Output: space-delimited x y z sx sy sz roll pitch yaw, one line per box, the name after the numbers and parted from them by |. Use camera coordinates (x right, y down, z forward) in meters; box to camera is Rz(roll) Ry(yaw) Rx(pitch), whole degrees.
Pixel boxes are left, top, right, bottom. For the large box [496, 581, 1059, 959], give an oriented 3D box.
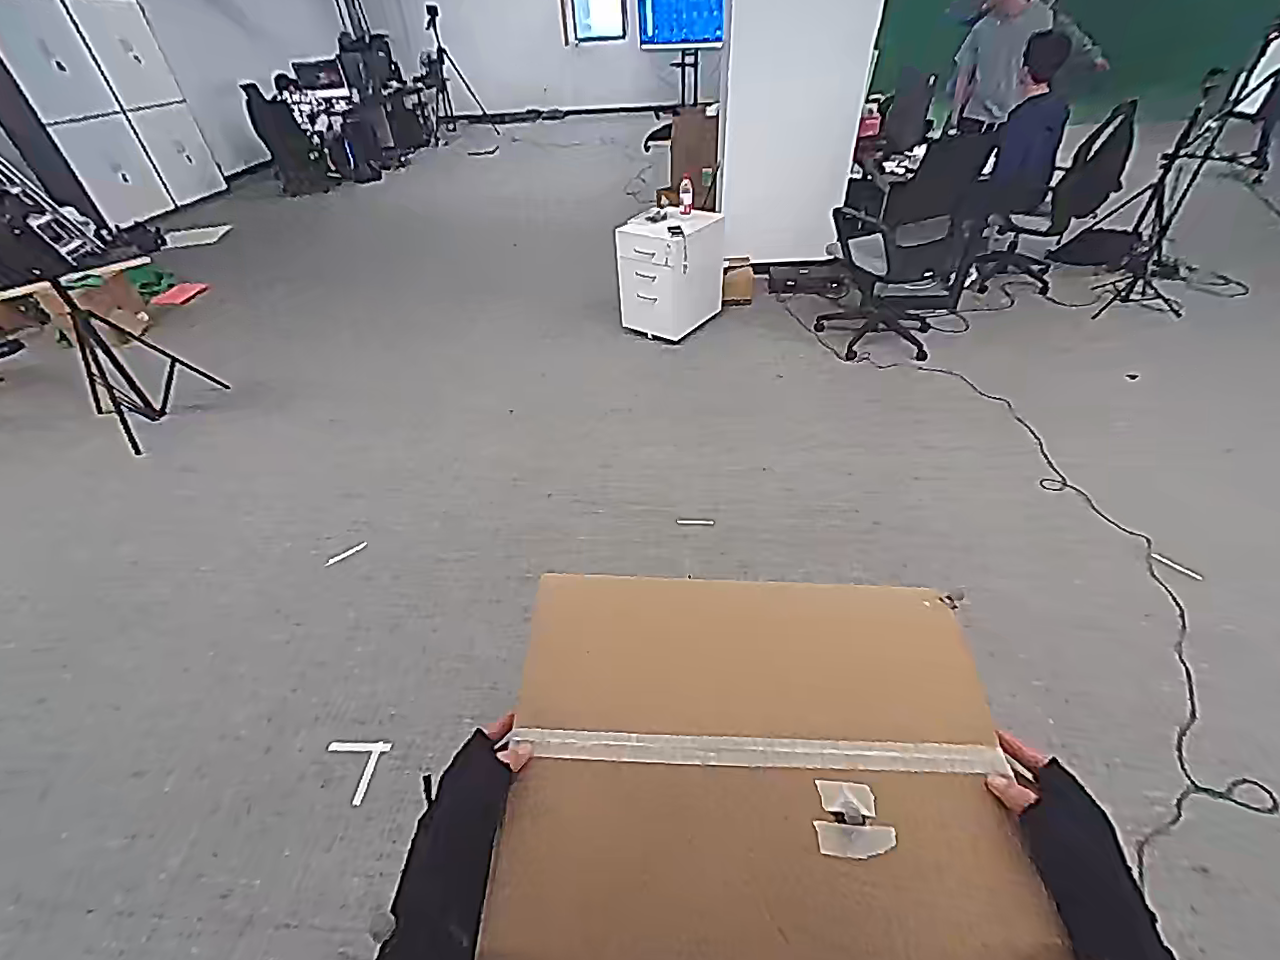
0.095 0.319 0.579 0.408 0.320 0.320 1 53 0 | large box
